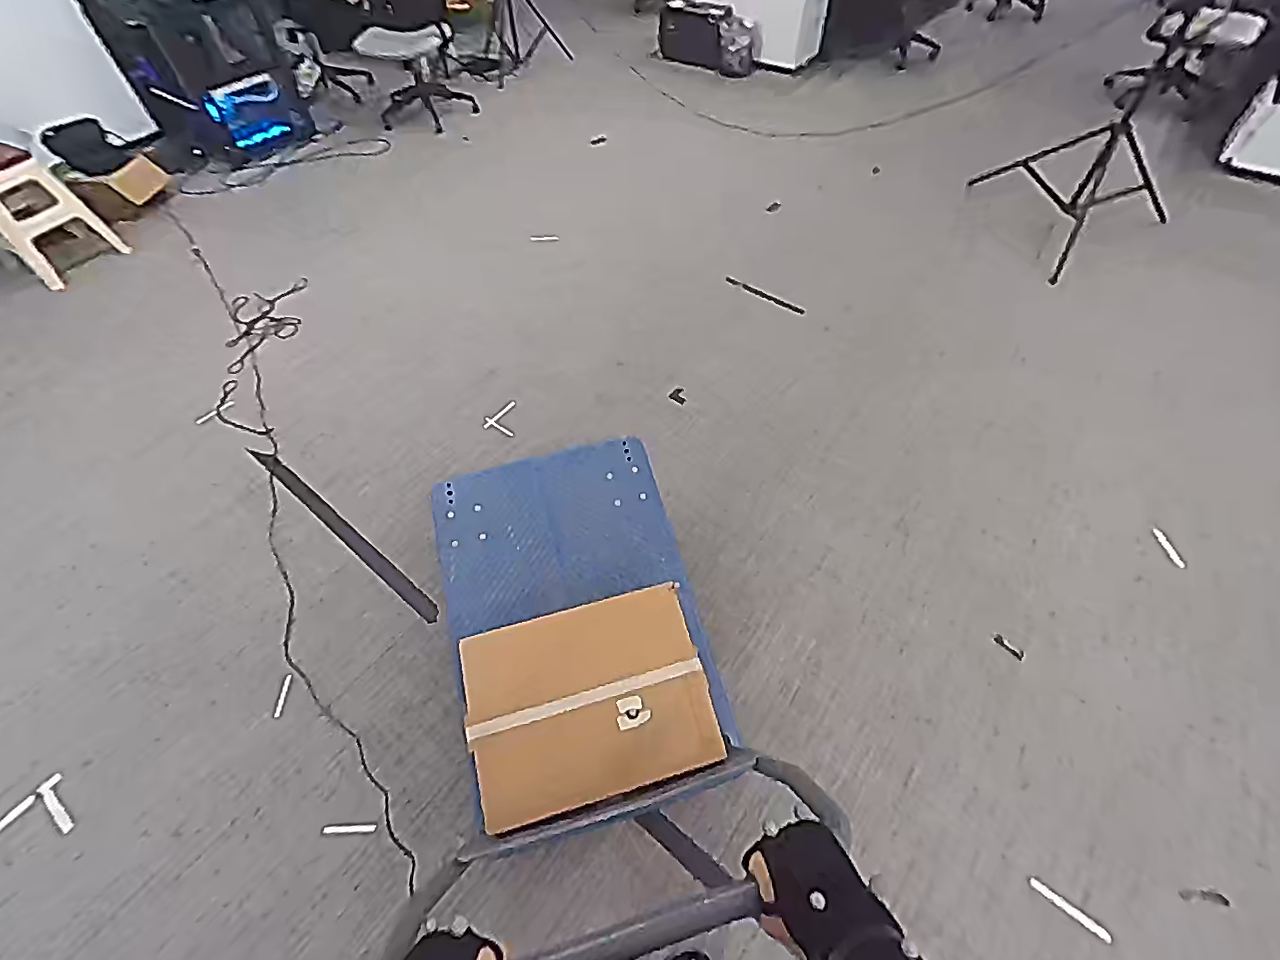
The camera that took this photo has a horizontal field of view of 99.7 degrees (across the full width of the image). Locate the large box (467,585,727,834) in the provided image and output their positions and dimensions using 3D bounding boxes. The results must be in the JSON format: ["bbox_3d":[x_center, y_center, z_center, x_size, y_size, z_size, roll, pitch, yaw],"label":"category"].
[{"bbox_3d":[-0.089,0.449,1.083,0.408,0.320,0.320,-14,66,-10],"label":"large box"}]
